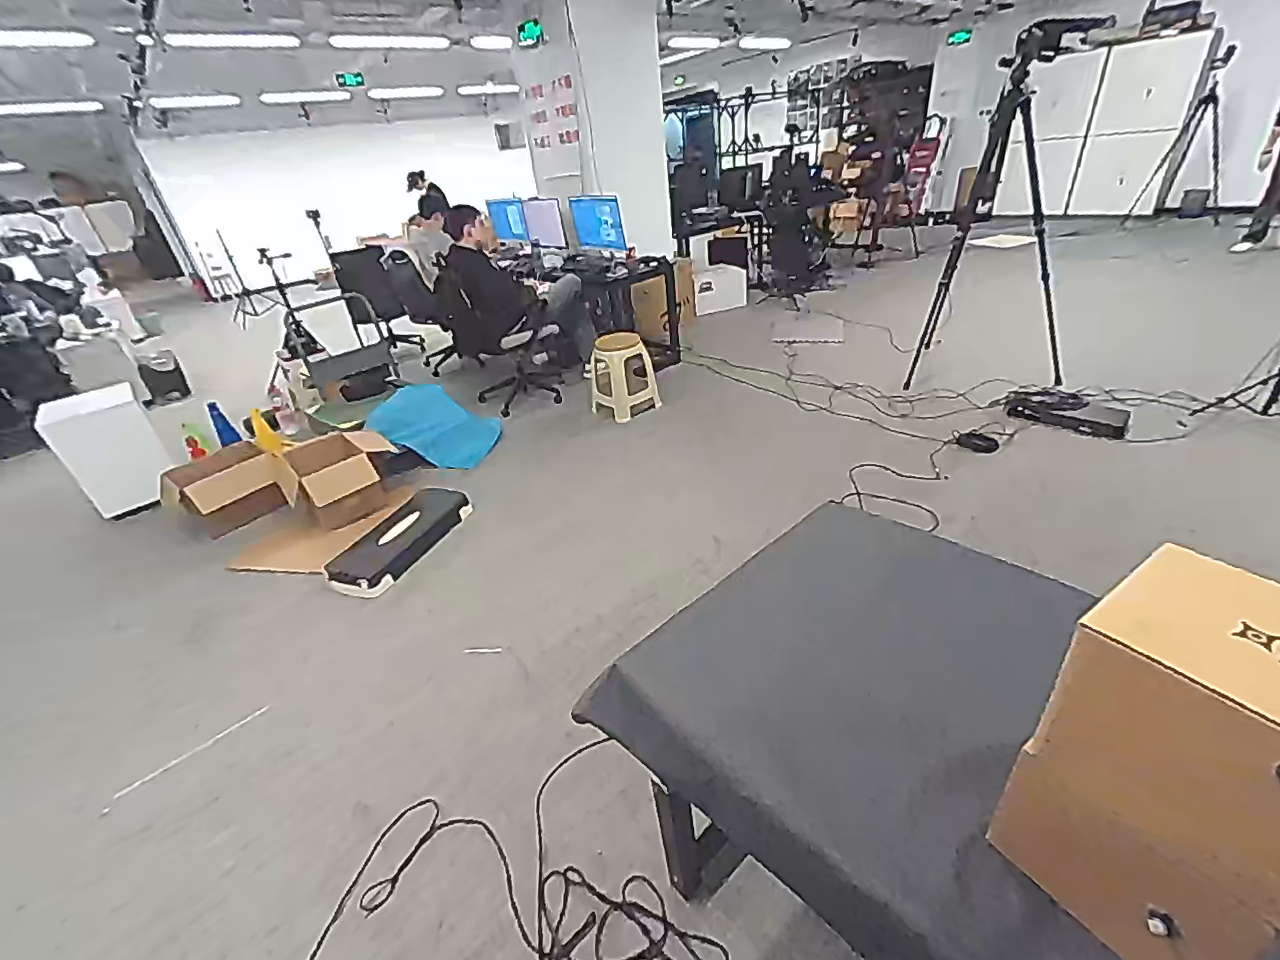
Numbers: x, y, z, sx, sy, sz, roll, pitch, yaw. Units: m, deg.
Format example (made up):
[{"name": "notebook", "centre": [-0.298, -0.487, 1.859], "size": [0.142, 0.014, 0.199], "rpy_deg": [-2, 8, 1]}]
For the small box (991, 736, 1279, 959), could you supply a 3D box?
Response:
[{"name": "small box", "centre": [0.483, 0.329, 0.520], "size": [0.168, 0.176, 0.179], "rpy_deg": [-22, 33, -25]}]

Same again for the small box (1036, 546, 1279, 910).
[{"name": "small box", "centre": [0.470, 0.189, 0.439], "size": [0.168, 0.176, 0.179], "rpy_deg": [-22, 34, -25]}]
